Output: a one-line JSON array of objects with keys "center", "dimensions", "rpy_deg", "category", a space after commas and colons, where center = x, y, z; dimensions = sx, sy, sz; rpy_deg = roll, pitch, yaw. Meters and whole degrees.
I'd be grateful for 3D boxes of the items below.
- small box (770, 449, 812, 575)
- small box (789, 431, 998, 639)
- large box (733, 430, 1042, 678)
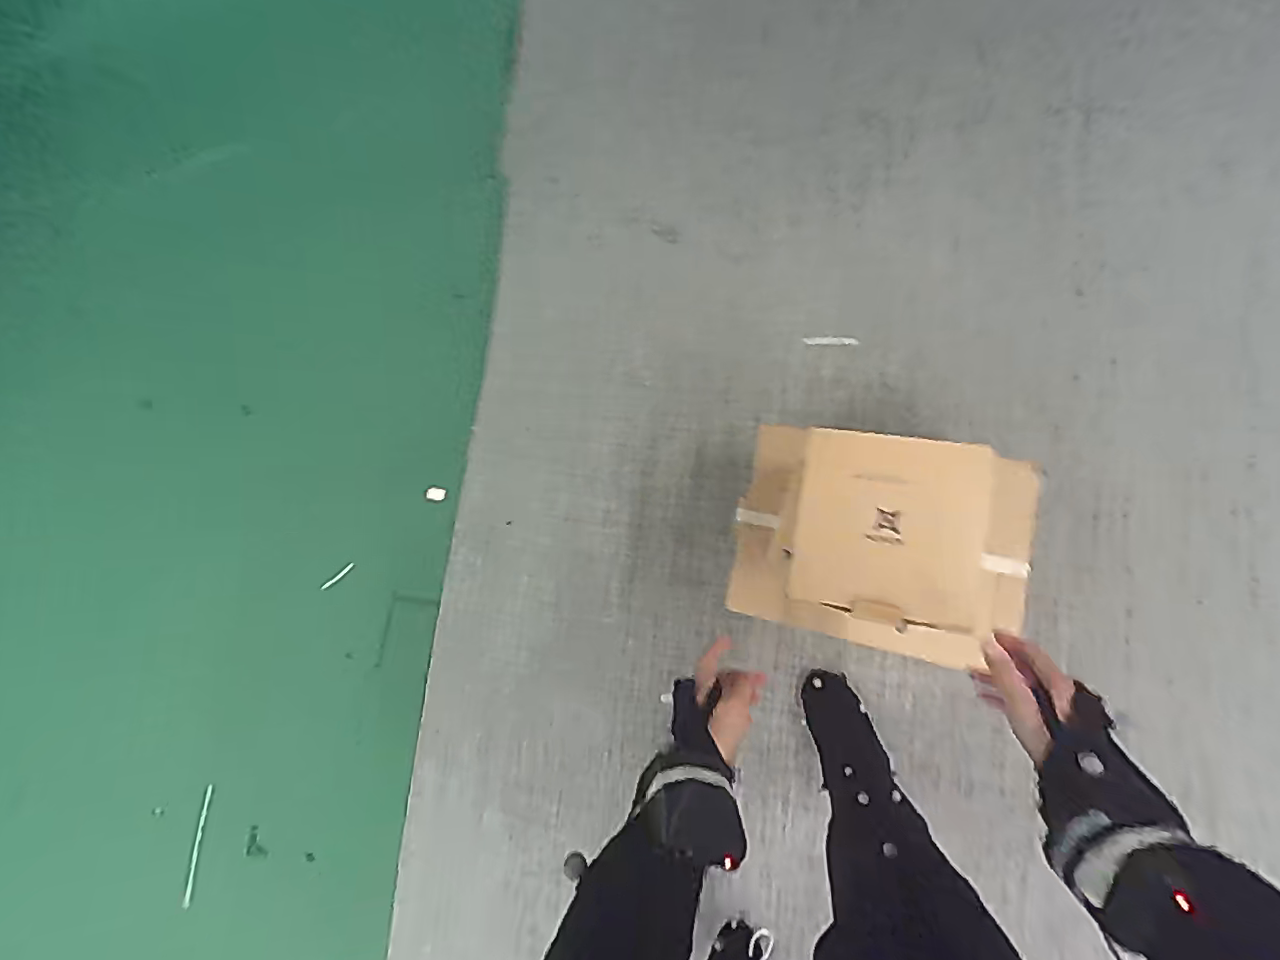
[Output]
[{"center": [0.292, 0.072, 0.749], "dimensions": [0.179, 0.176, 0.168], "rpy_deg": [17, 86, 18], "category": "small box"}, {"center": [0.260, 0.059, 0.589], "dimensions": [0.168, 0.176, 0.179], "rpy_deg": [9, 82, 16], "category": "small box"}, {"center": [0.403, 0.120, 0.964], "dimensions": [0.408, 0.320, 0.320], "rpy_deg": [11, 85, 17], "category": "large box"}]
